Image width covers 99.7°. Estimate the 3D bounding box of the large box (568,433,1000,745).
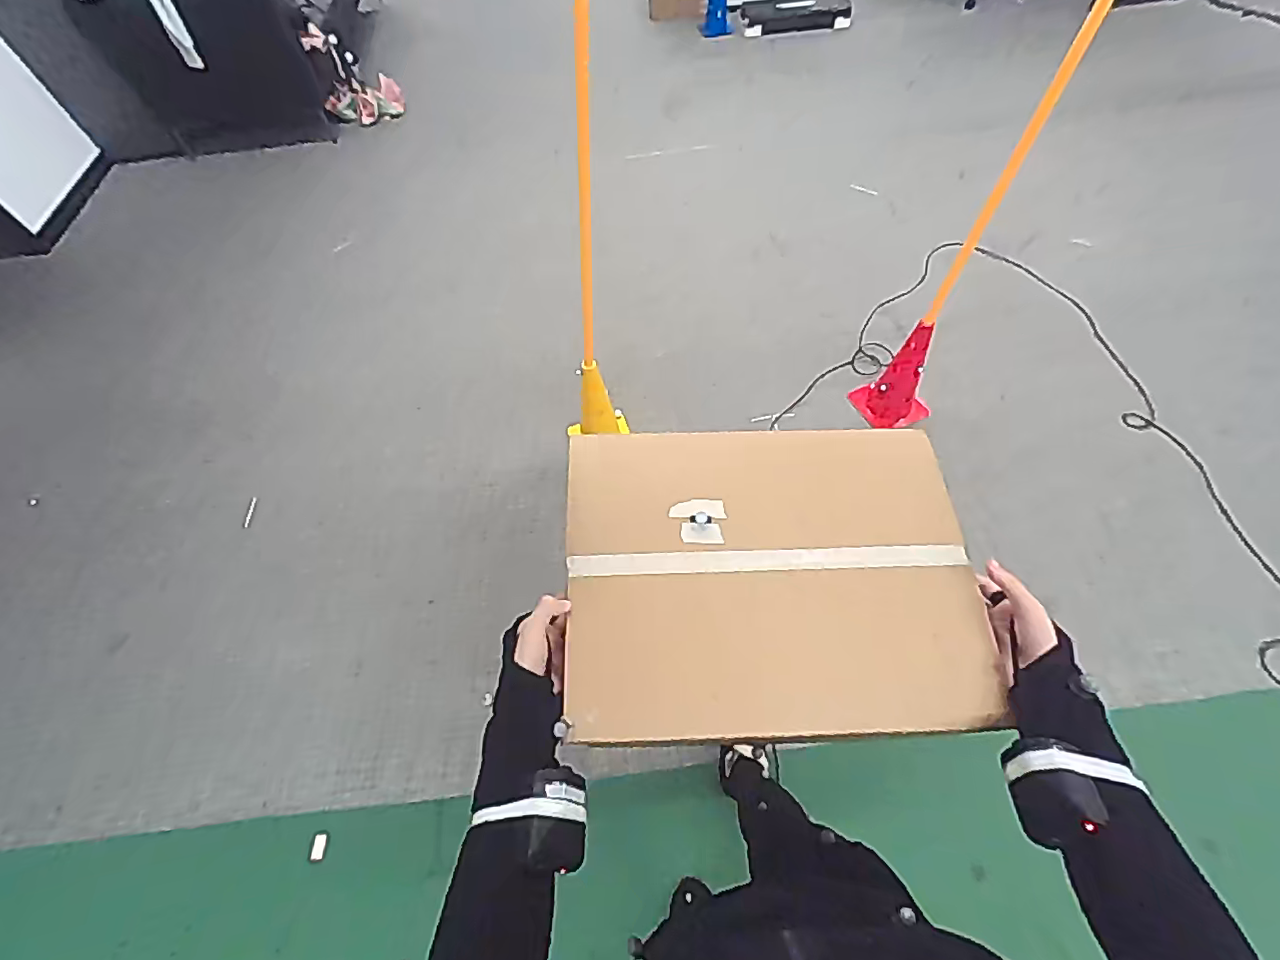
[{"bbox_3d":[0.129,0.157,0.688,0.408,0.320,0.320,-2,62,-1],"label":"large box"}]
